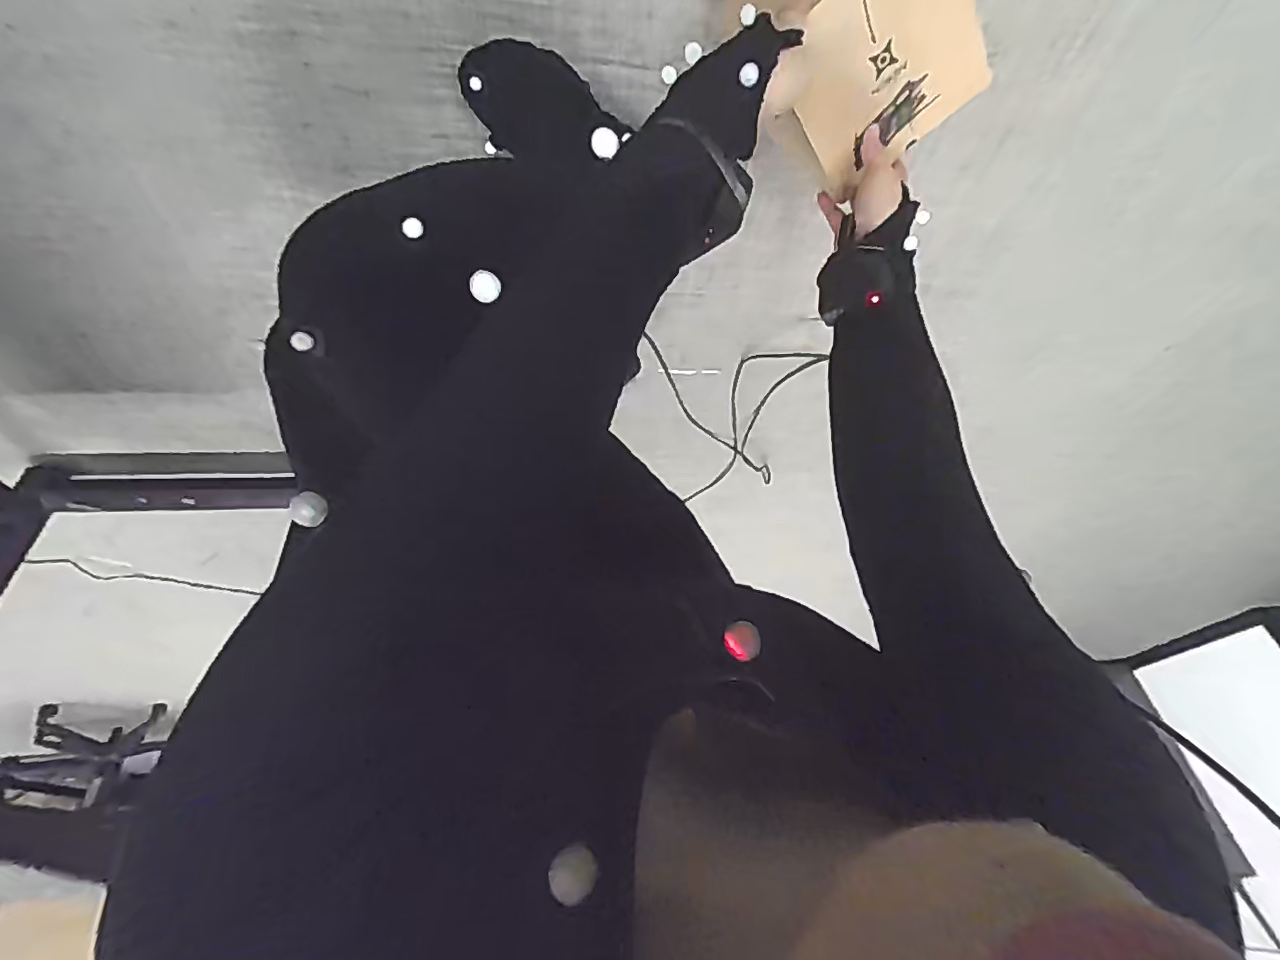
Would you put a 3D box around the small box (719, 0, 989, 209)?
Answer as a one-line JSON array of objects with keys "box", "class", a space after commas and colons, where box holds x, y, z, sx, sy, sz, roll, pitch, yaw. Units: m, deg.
[{"box": [0.207, -0.426, 0.543, 0.168, 0.176, 0.179, -35, 136, 21], "class": "small box"}]
